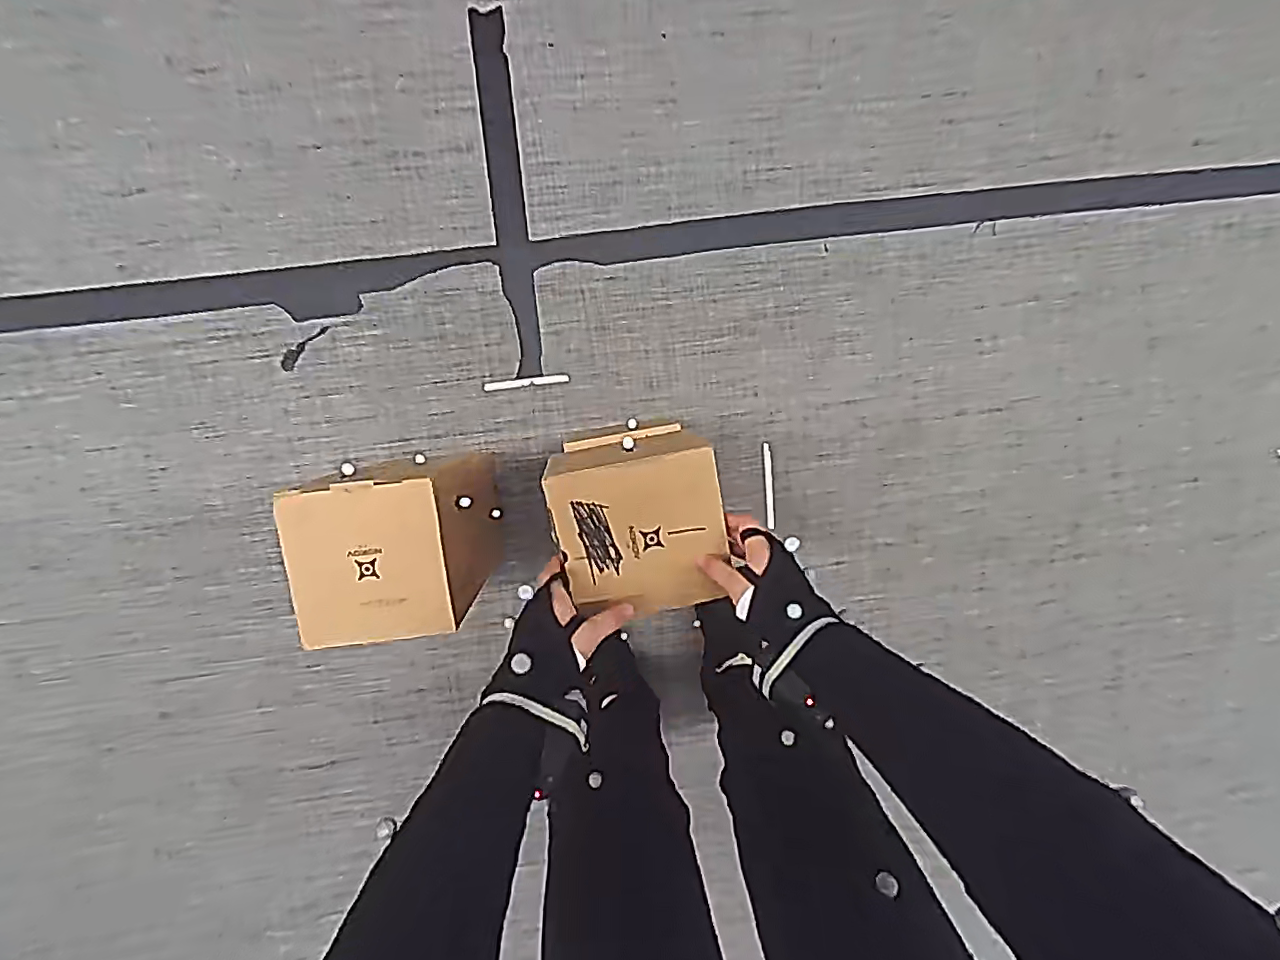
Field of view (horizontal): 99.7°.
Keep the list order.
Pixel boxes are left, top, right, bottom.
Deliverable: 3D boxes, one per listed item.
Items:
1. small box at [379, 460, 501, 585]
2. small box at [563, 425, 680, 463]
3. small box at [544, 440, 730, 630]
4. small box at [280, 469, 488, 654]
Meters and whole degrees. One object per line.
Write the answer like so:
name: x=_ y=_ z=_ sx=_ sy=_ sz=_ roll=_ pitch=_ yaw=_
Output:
small box: x=-0.312 y=0.064 z=0.819 sx=0.179 sy=0.176 sz=0.168 roll=-5 pitch=99 yaw=-4
small box: x=-0.019 y=0.017 z=0.838 sx=0.168 sy=0.176 sz=0.179 roll=-10 pitch=100 yaw=-3
small box: x=-0.007 y=0.052 z=0.643 sx=0.179 sy=0.176 sz=0.168 roll=-11 pitch=102 yaw=-5
small box: x=-0.292 y=0.085 z=0.659 sx=0.168 sy=0.176 sz=0.179 roll=-6 pitch=101 yaw=-3
